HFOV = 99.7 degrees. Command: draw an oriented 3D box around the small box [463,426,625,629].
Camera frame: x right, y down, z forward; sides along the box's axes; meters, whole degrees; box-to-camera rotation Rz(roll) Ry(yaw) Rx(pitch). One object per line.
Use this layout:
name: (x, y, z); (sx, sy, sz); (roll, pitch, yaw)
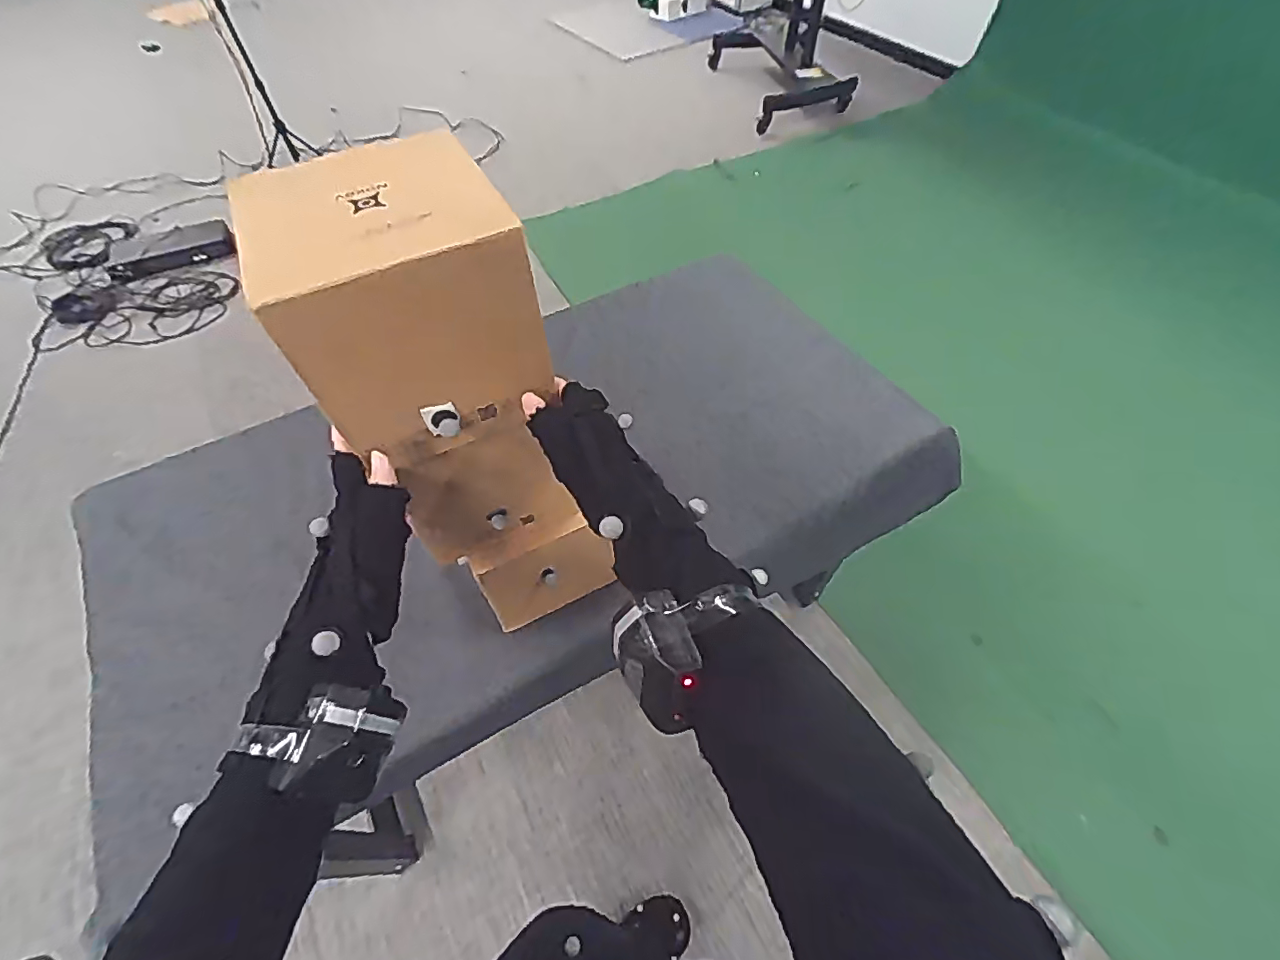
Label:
small box: (-0.132, 0.061, 0.688); (0.179, 0.176, 0.168); (-25, 57, -15)

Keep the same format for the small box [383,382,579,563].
small box: (-0.178, -0.047, 0.565); (0.168, 0.176, 0.179); (-25, 55, -15)

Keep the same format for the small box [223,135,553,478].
small box: (-0.186, -0.135, 0.430); (0.168, 0.176, 0.179); (-26, 58, -14)
